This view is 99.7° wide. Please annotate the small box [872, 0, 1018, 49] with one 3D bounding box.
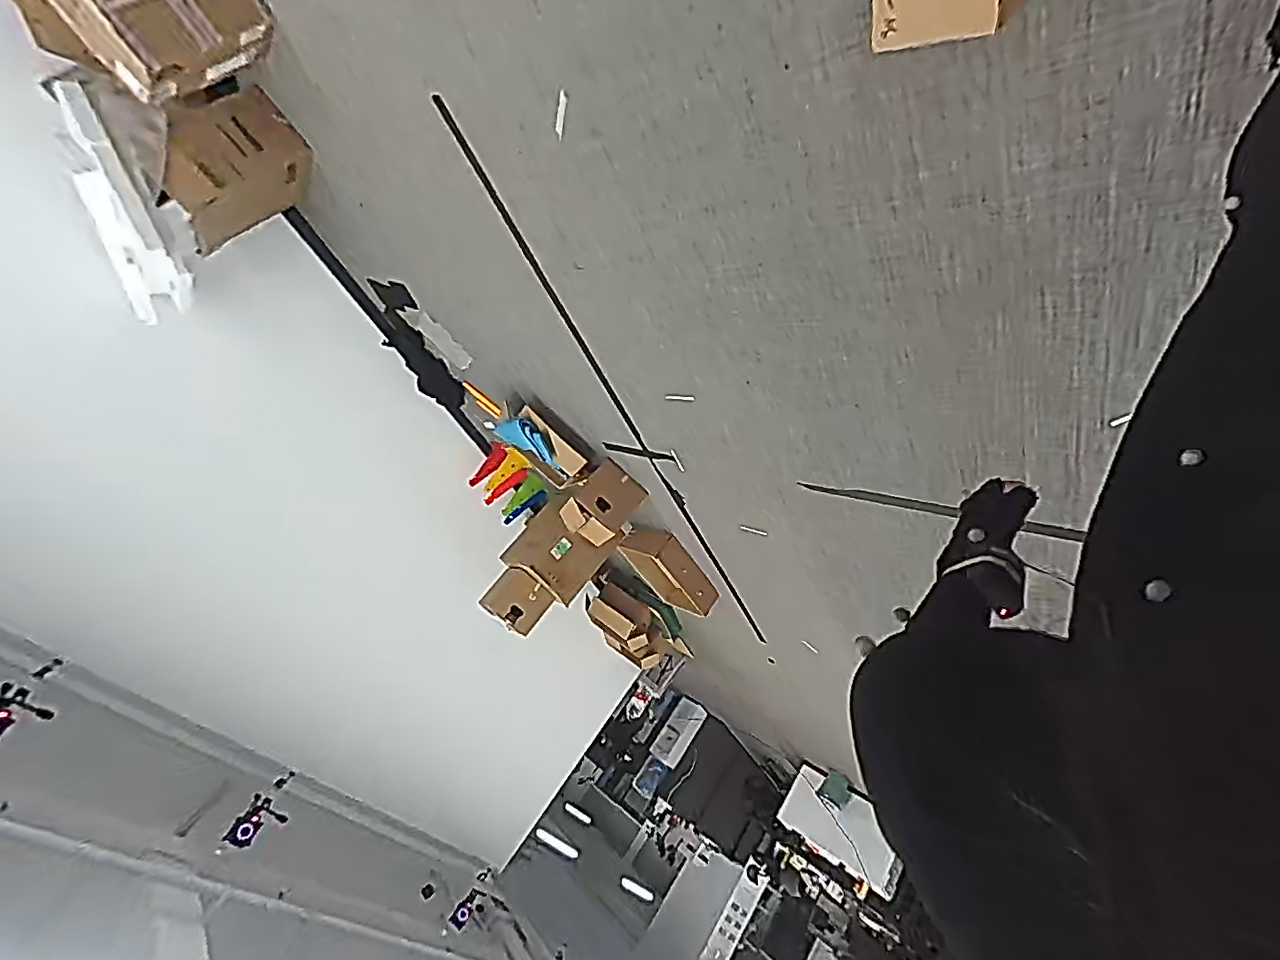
[{"bbox_3d":[0.449,-0.748,0.760,0.179,0.176,0.168,22,151,36],"label":"small box"}]
